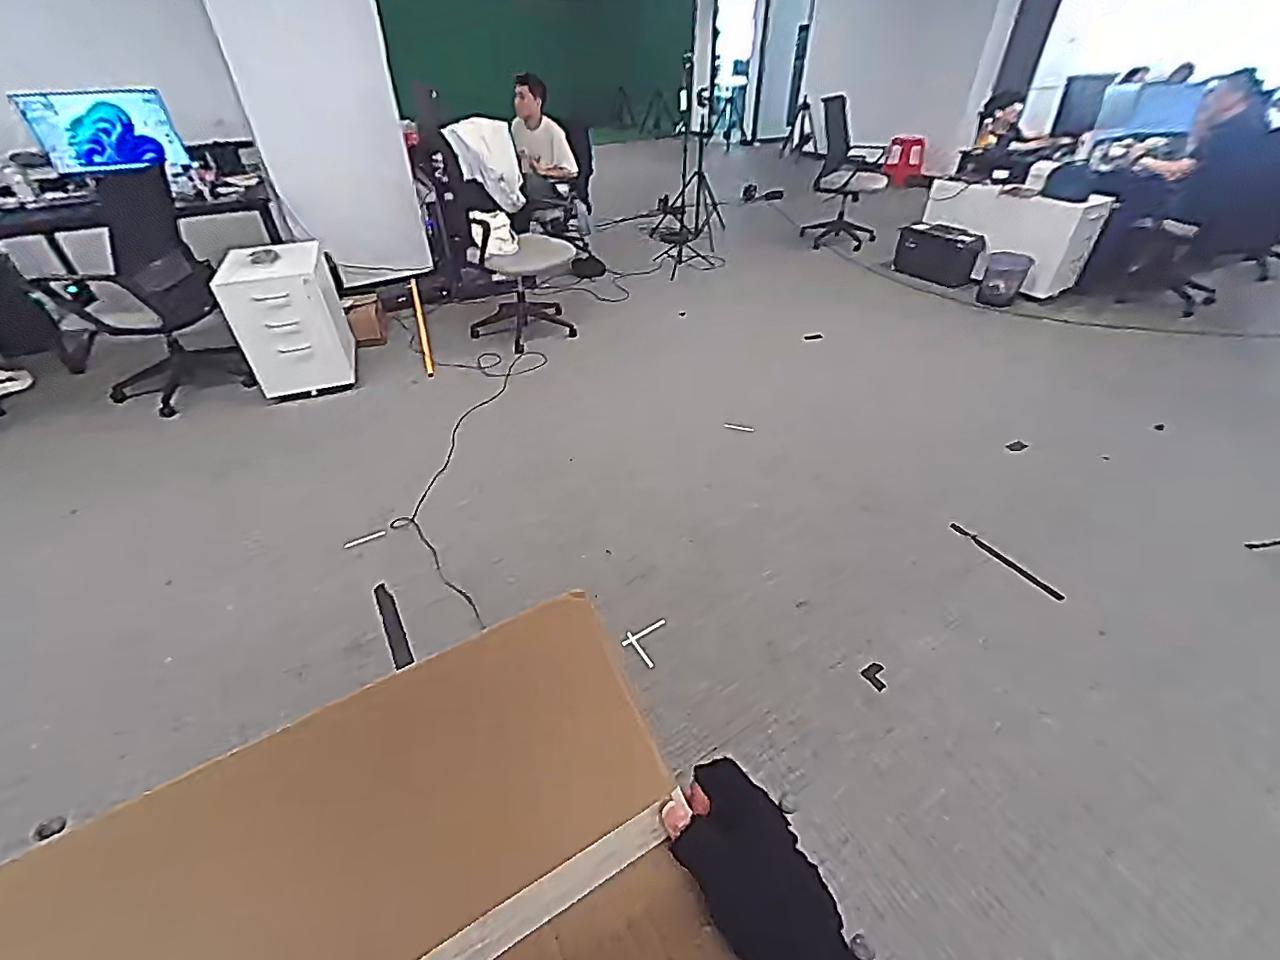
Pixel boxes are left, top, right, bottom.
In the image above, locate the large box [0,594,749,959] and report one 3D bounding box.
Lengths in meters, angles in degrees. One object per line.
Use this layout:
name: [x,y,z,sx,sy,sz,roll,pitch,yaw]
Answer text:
large box: [-0.183,0.339,0.427,0.408,0.320,0.320,-23,78,-20]
